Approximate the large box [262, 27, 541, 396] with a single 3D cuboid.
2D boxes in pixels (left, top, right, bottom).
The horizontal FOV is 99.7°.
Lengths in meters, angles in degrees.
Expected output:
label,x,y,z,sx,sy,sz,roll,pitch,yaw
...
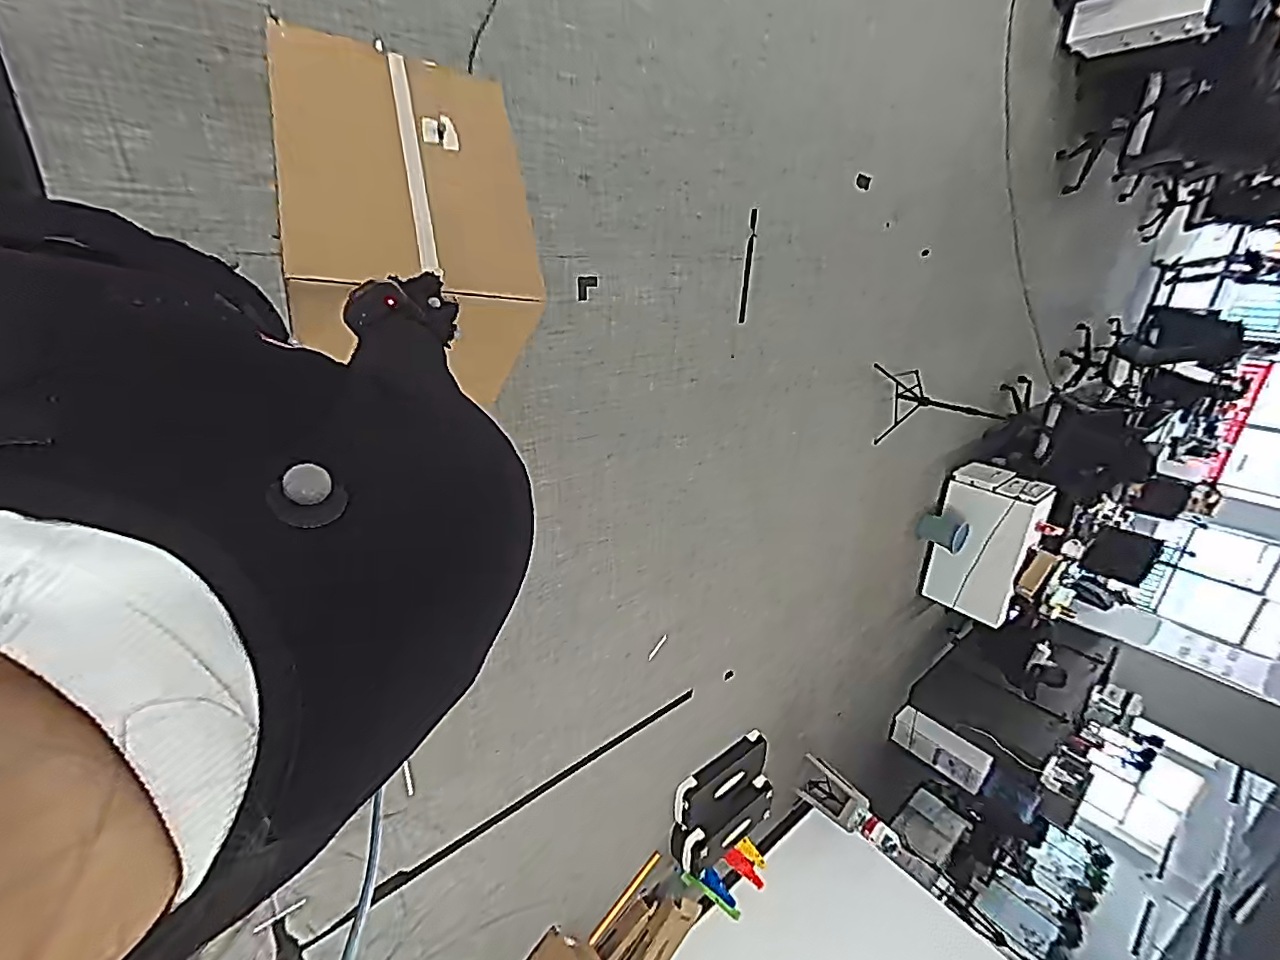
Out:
label,x,y,z,sx,sy,sz,roll,pitch,yaw
large box,-0.386,-0.383,0.869,0.320,0.320,0.408,-6,74,-31
